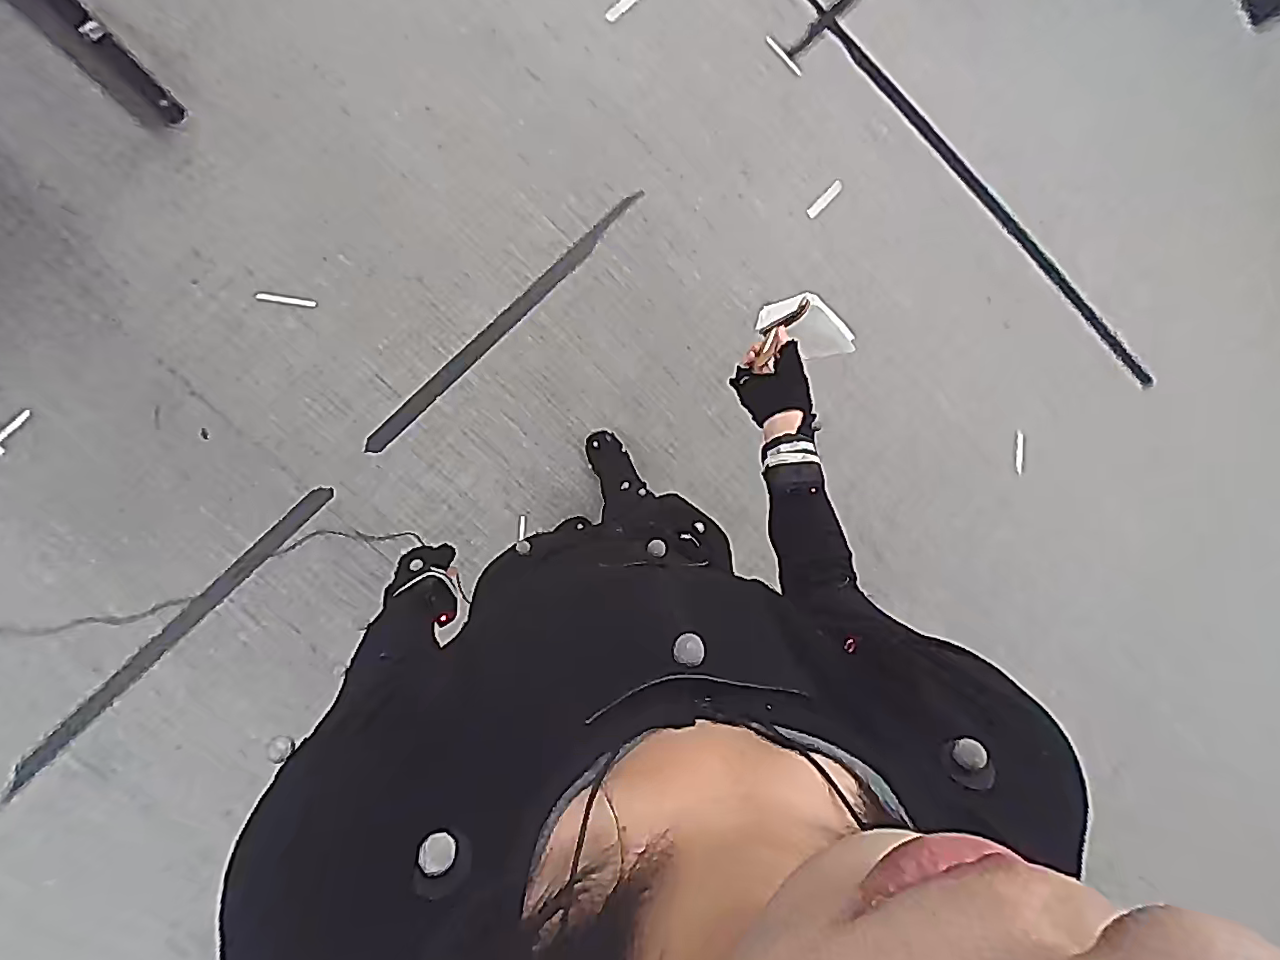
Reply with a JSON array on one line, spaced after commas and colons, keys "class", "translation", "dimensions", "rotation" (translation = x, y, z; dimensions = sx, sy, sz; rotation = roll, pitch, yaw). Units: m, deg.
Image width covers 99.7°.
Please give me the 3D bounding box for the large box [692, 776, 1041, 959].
[{"class": "large box", "translation": [0.341, 0.762, 0.807], "dimensions": [0.320, 0.320, 0.408], "rotation": [42, 83, -5]}]
